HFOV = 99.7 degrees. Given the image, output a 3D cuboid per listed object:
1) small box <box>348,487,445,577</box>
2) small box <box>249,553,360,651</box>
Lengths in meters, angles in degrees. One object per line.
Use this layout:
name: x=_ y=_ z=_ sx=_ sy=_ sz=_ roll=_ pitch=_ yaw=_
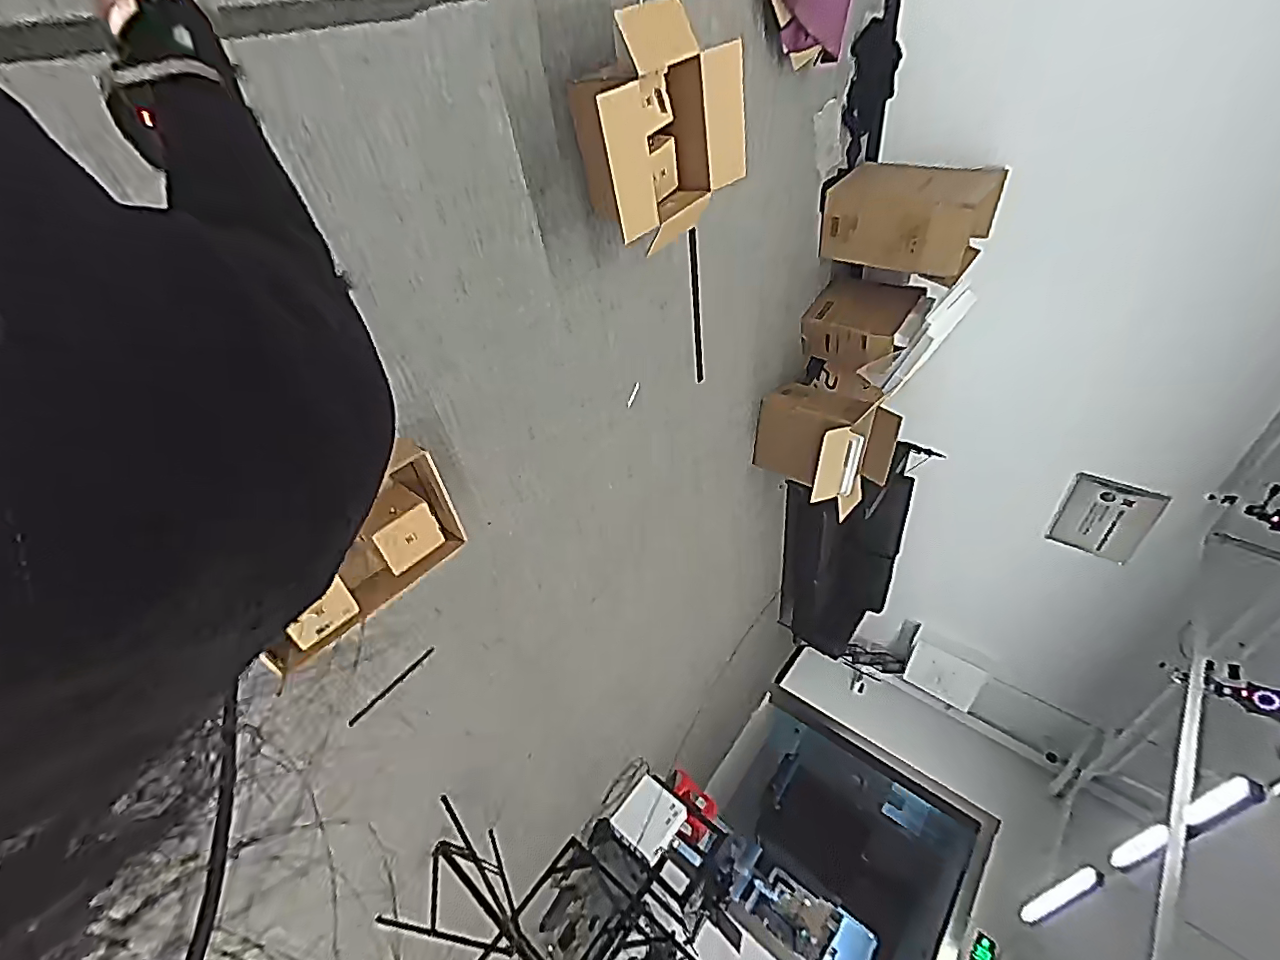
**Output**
small box: x=-0.724 y=0.148 z=1.608 sx=0.179 sy=0.176 sz=0.168 roll=-40 pitch=137 yaw=-31
small box: x=-0.906 y=0.318 z=1.460 sx=0.168 sy=0.176 sz=0.179 roll=-40 pitch=137 yaw=-35
